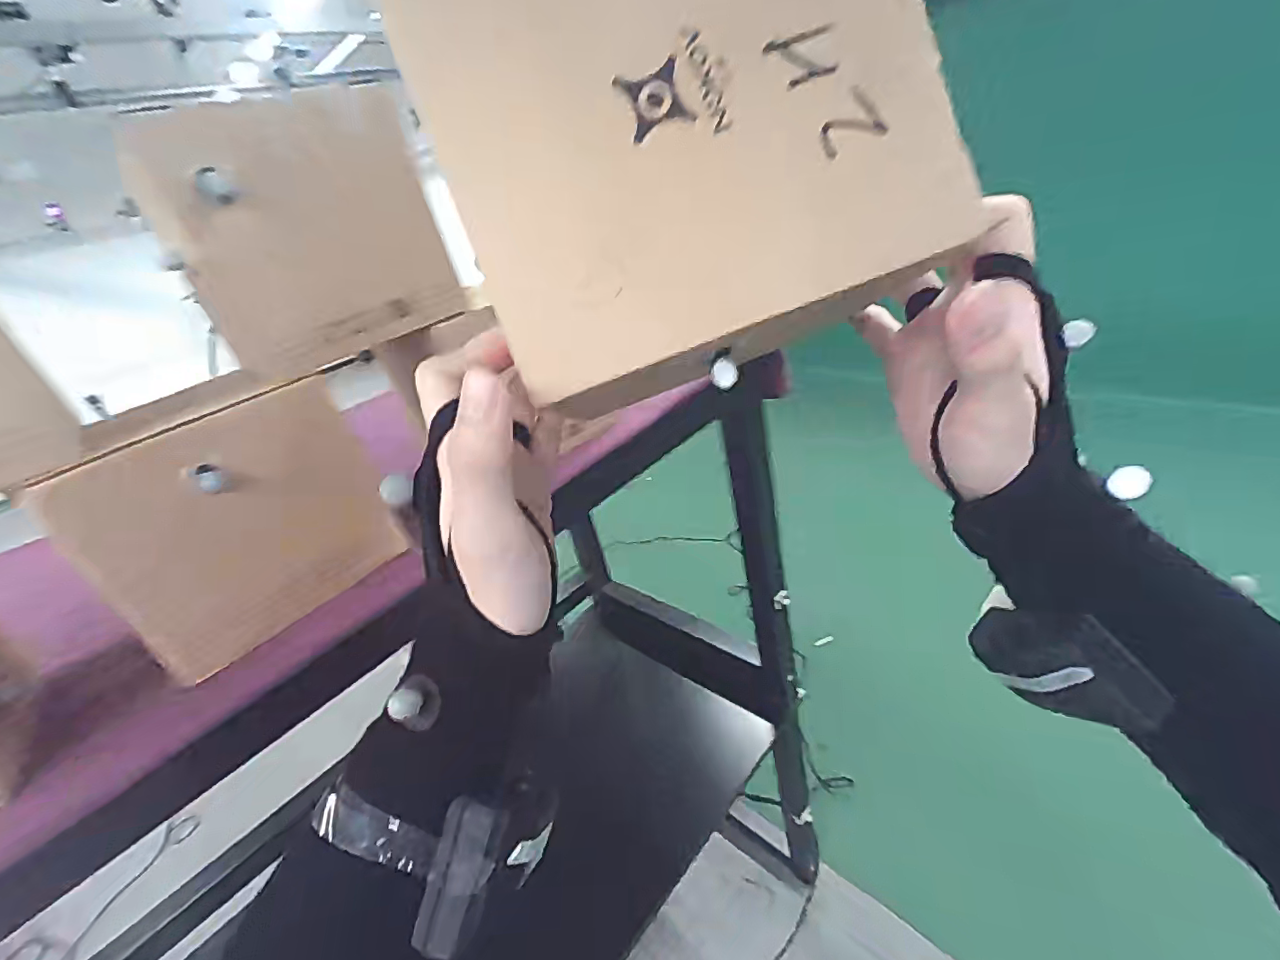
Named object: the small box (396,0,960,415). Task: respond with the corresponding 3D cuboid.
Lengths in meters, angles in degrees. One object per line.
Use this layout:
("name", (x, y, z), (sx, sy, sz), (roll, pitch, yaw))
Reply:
("small box", (0.016, -0.139, 0.283), (0.179, 0.168, 0.176), (-20, 3, 2))

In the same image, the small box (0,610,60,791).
("small box", (-0.507, 0.142, 0.307), (0.179, 0.176, 0.168), (-32, 33, -31))

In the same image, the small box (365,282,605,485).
("small box", (-0.163, -0.112, 0.599), (0.168, 0.176, 0.179), (-34, 35, -33))

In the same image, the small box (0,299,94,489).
("small box", (-0.469, -0.062, 0.310), (0.179, 0.176, 0.168), (14, 39, 44))
